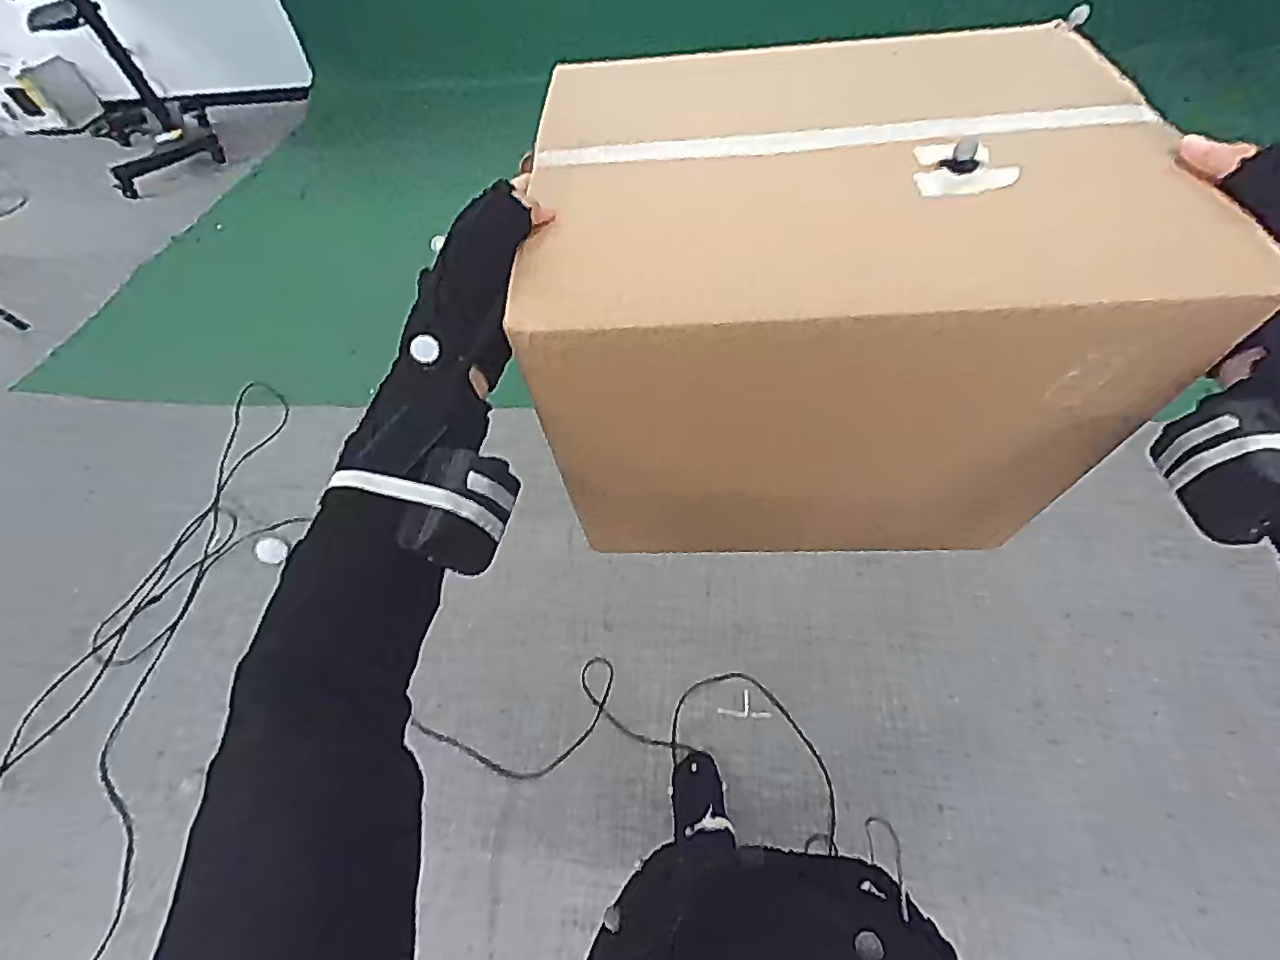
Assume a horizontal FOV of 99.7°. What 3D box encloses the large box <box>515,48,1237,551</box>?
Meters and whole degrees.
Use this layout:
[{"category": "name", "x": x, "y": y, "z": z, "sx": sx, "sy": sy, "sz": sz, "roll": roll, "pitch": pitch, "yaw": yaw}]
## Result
[{"category": "large box", "x": 0.132, "y": -0.139, "z": 0.502, "sx": 0.408, "sy": 0.320, "sz": 0.320, "roll": -2, "pitch": 59, "yaw": 4}]
